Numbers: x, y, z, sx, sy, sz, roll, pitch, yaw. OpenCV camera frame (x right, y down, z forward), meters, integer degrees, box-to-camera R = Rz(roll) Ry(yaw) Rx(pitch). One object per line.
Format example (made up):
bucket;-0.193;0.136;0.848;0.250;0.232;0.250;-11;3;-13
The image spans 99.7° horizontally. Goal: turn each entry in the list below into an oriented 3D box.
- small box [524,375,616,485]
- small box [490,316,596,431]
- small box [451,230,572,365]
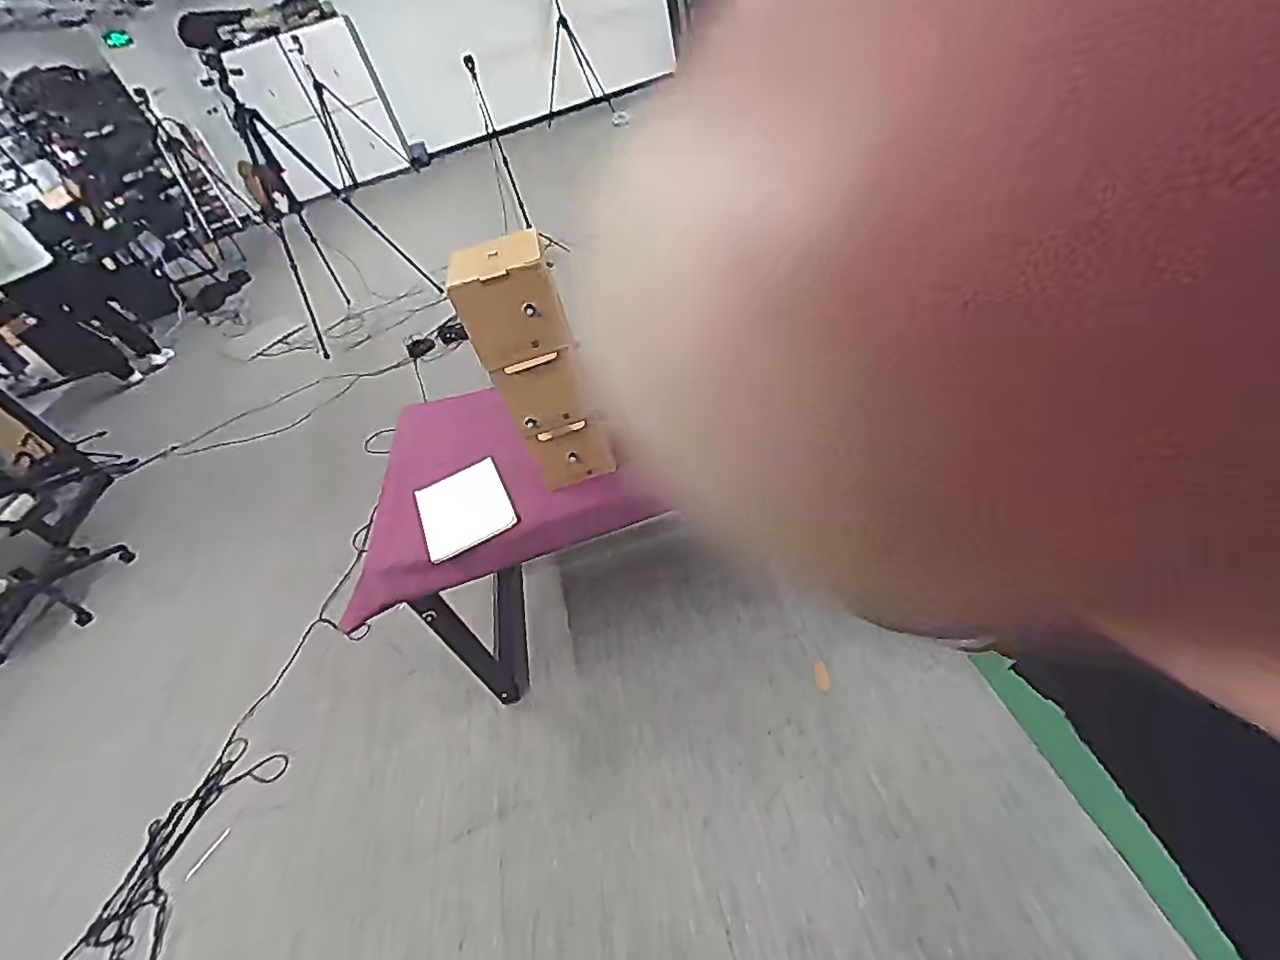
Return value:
small box;-0.160;-0.108;1.234;0.168;0.176;0.179;-17;43;0
small box;-0.196;-0.220;1.118;0.168;0.176;0.179;-17;41;1
small box;-0.232;-0.332;1.005;0.168;0.176;0.179;-16;42;1
